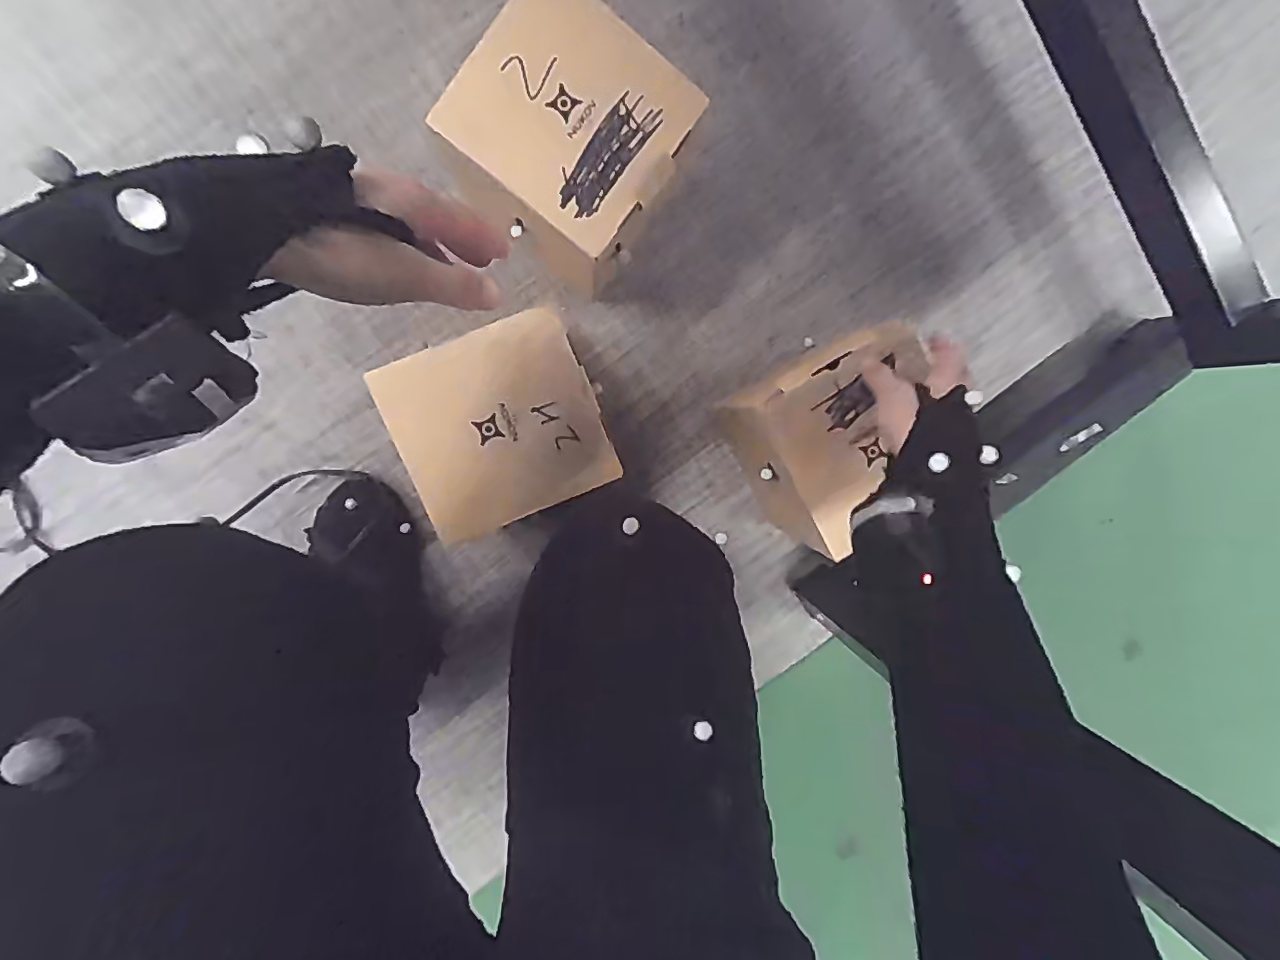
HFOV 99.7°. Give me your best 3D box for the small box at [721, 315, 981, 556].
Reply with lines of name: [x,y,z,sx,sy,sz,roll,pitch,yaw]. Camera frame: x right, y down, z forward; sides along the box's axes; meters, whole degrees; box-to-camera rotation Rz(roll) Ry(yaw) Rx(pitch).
small box: [0.209,-0.049,0.583,0.168,0.176,0.179,-31,100,-1]
